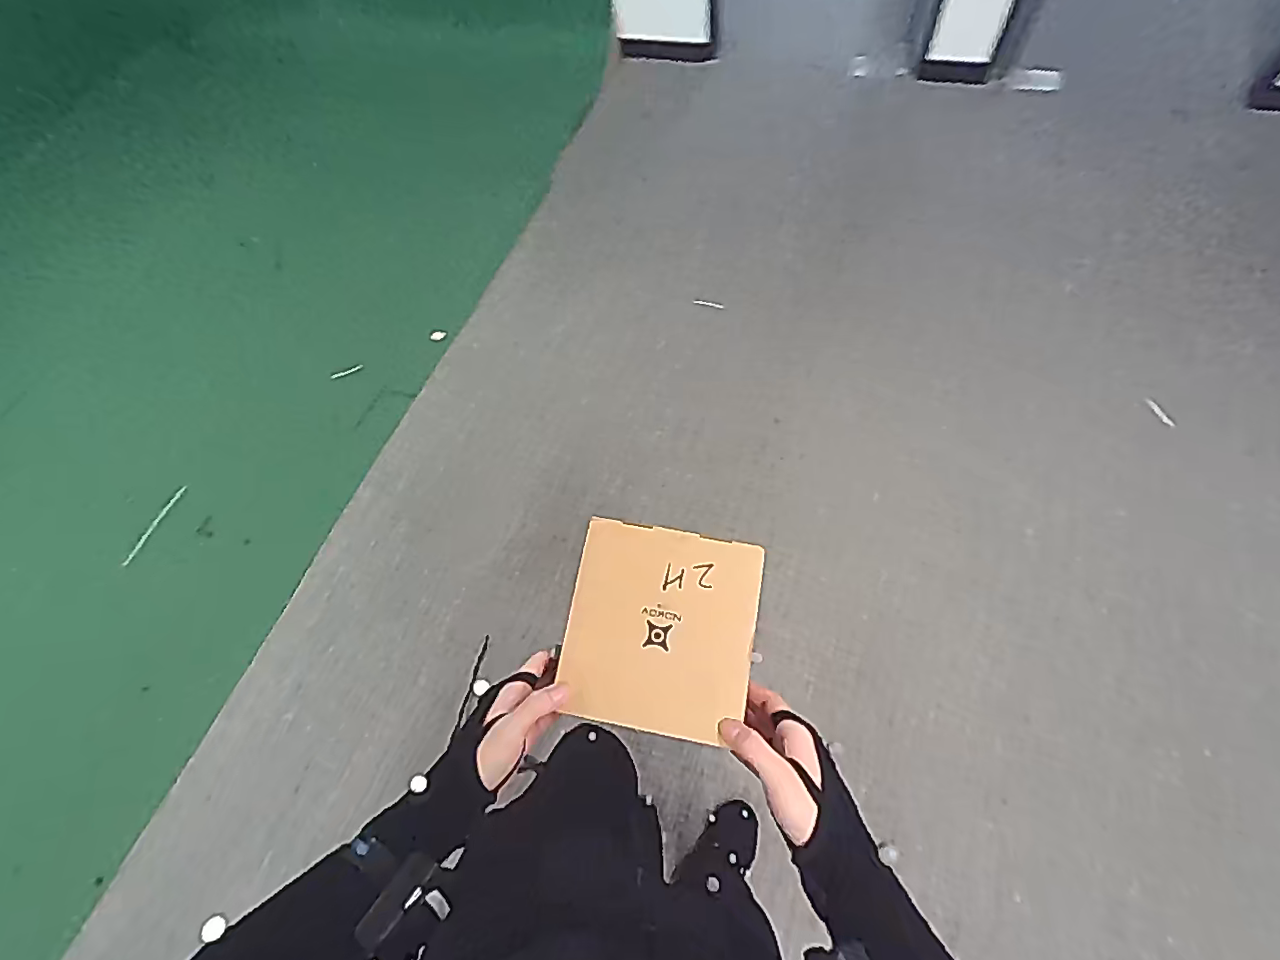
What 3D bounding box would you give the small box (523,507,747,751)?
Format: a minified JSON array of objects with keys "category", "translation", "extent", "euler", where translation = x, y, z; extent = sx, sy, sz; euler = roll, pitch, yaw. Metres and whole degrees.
[{"category":"small box","translation":[0.001,0.143,0.540],"extent":[0.168,0.176,0.179],"euler":[11,75,5]}]
